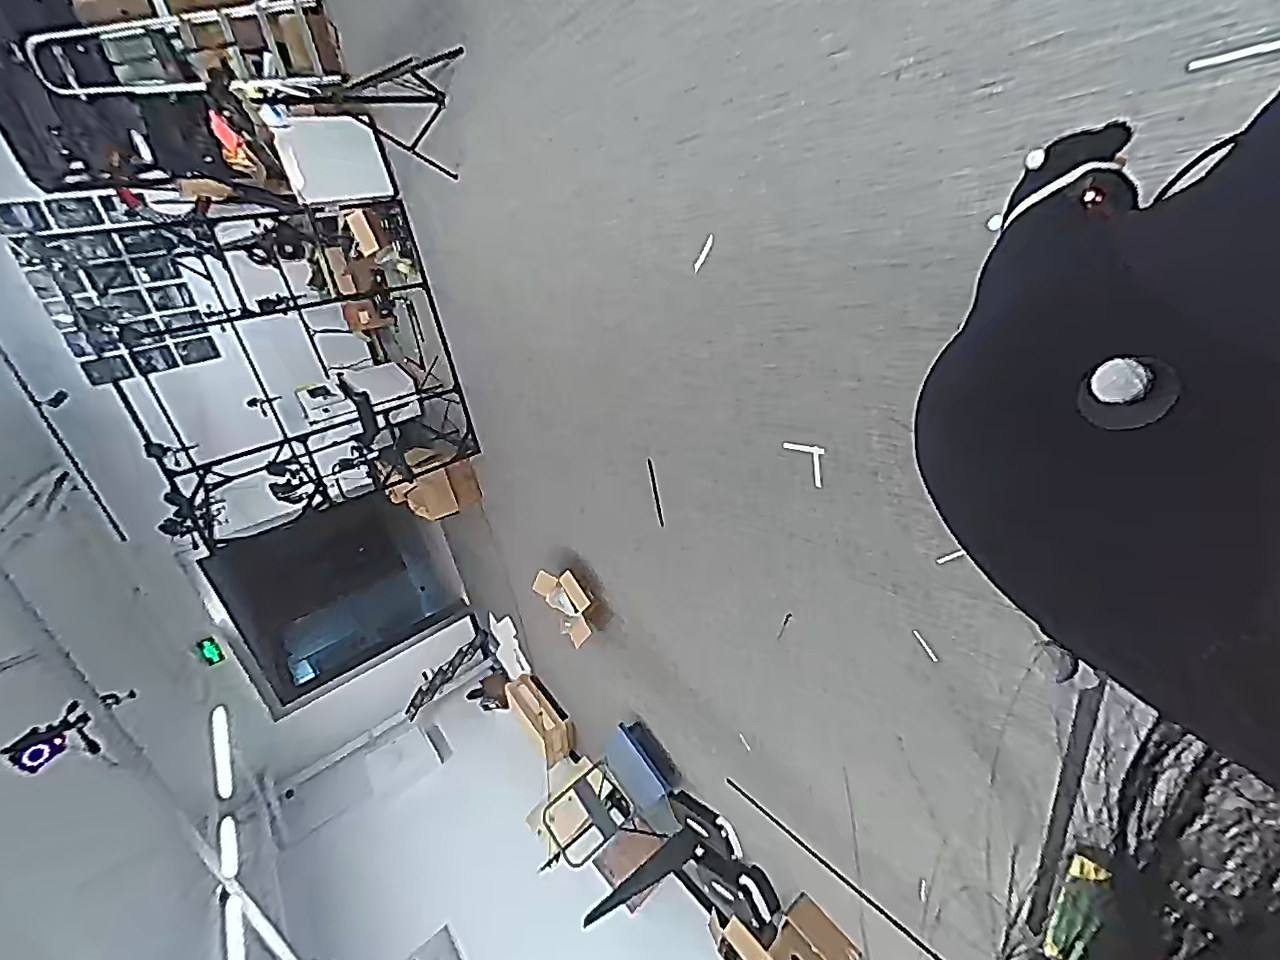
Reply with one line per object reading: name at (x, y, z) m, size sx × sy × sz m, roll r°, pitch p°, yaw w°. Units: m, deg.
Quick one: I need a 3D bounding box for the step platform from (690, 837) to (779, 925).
step platform at (0.635, 2.782, 3.767) m, size 0.684 × 0.204 × 0.286 m, roll -27°, pitch 89°, yaw 57°
